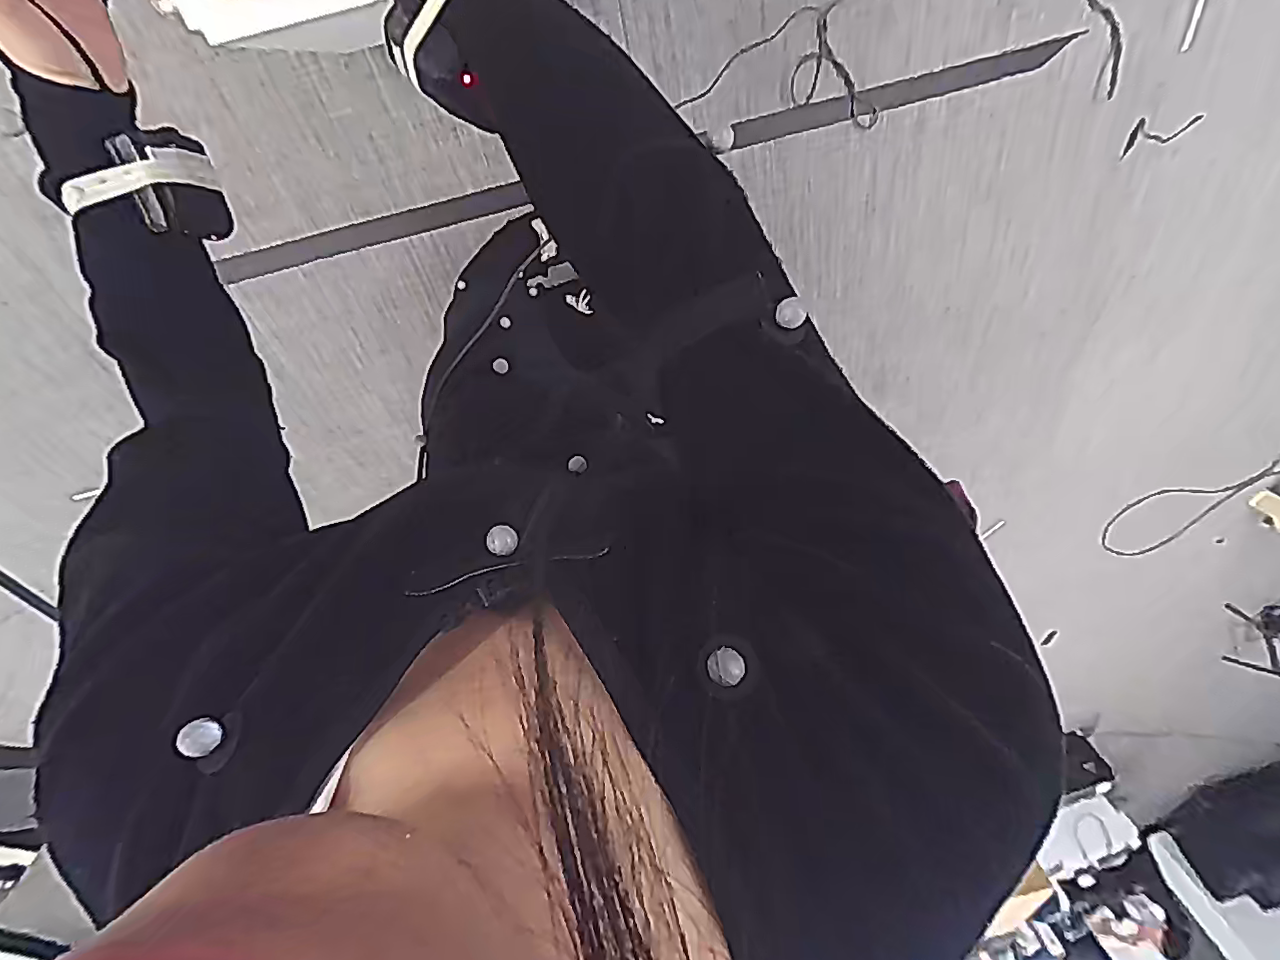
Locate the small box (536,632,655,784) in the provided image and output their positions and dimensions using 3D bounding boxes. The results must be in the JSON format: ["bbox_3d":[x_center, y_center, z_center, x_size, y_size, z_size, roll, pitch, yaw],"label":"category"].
[{"bbox_3d":[-0.082,0.404,0.967,0.168,0.176,0.179,-17,127,-2],"label":"small box"}]
